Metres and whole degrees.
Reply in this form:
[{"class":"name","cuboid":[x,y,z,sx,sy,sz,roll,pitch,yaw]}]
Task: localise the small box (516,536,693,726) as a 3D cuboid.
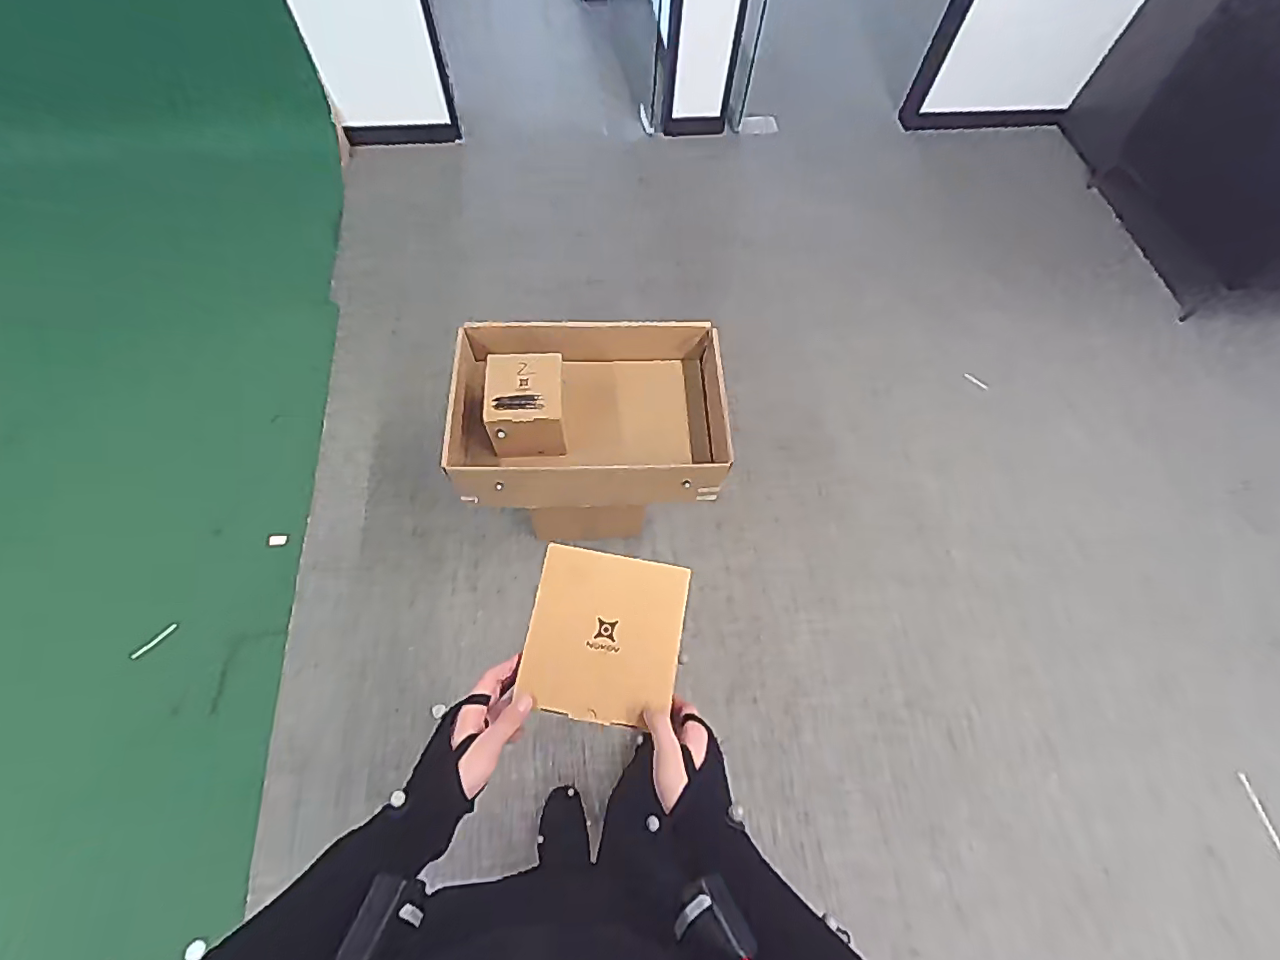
[{"class":"small box","cuboid":[-0.041,0.182,0.658,0.168,0.176,0.179,11,72,-1]}]
